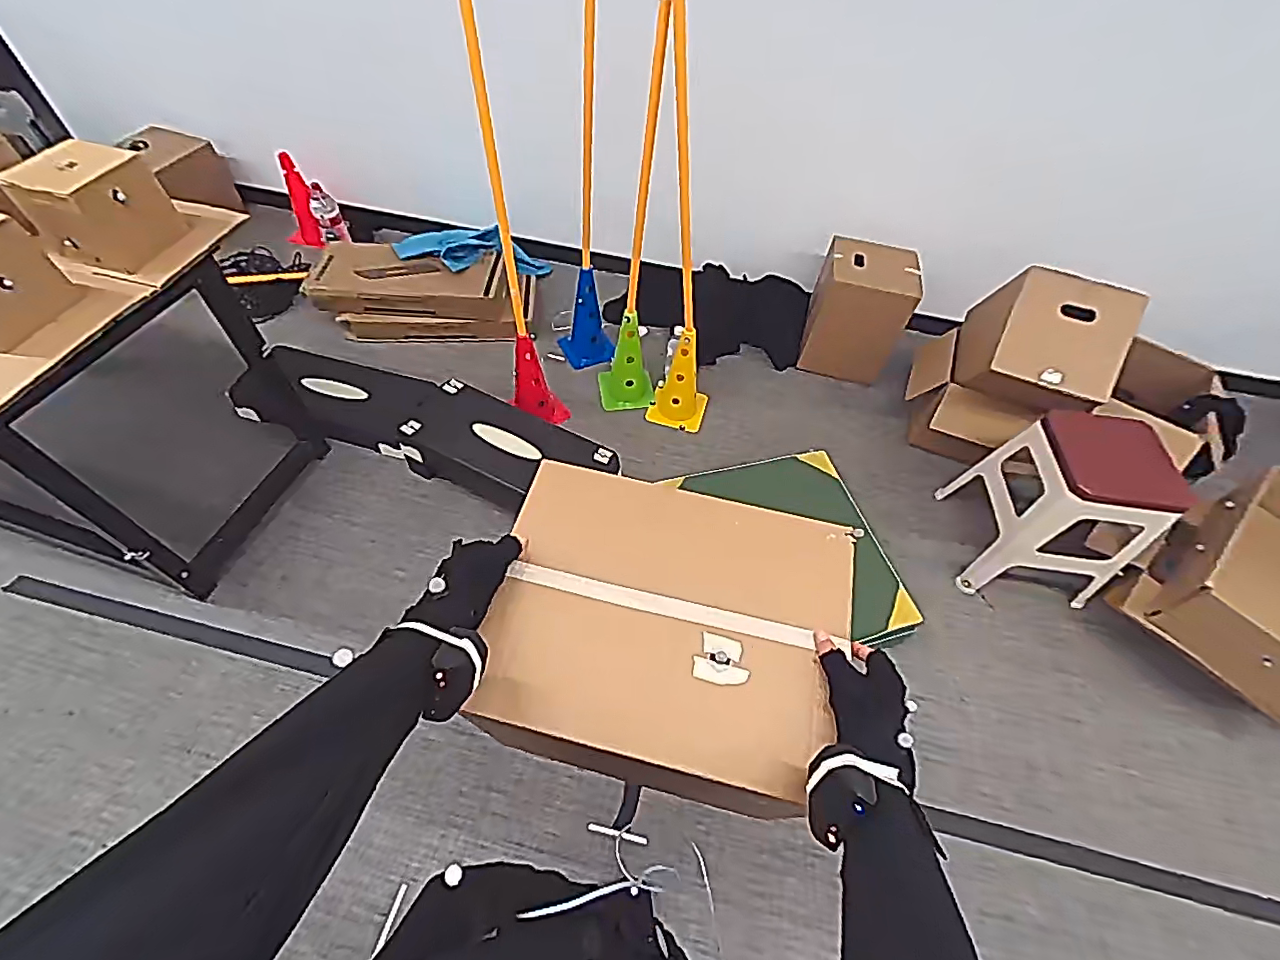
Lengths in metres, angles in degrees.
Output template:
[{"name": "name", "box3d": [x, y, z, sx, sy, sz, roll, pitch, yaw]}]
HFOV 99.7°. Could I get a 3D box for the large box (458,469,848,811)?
[{"name": "large box", "box3d": [0.028, 0.228, 0.746, 0.408, 0.320, 0.320, 13, 59, 6]}]
